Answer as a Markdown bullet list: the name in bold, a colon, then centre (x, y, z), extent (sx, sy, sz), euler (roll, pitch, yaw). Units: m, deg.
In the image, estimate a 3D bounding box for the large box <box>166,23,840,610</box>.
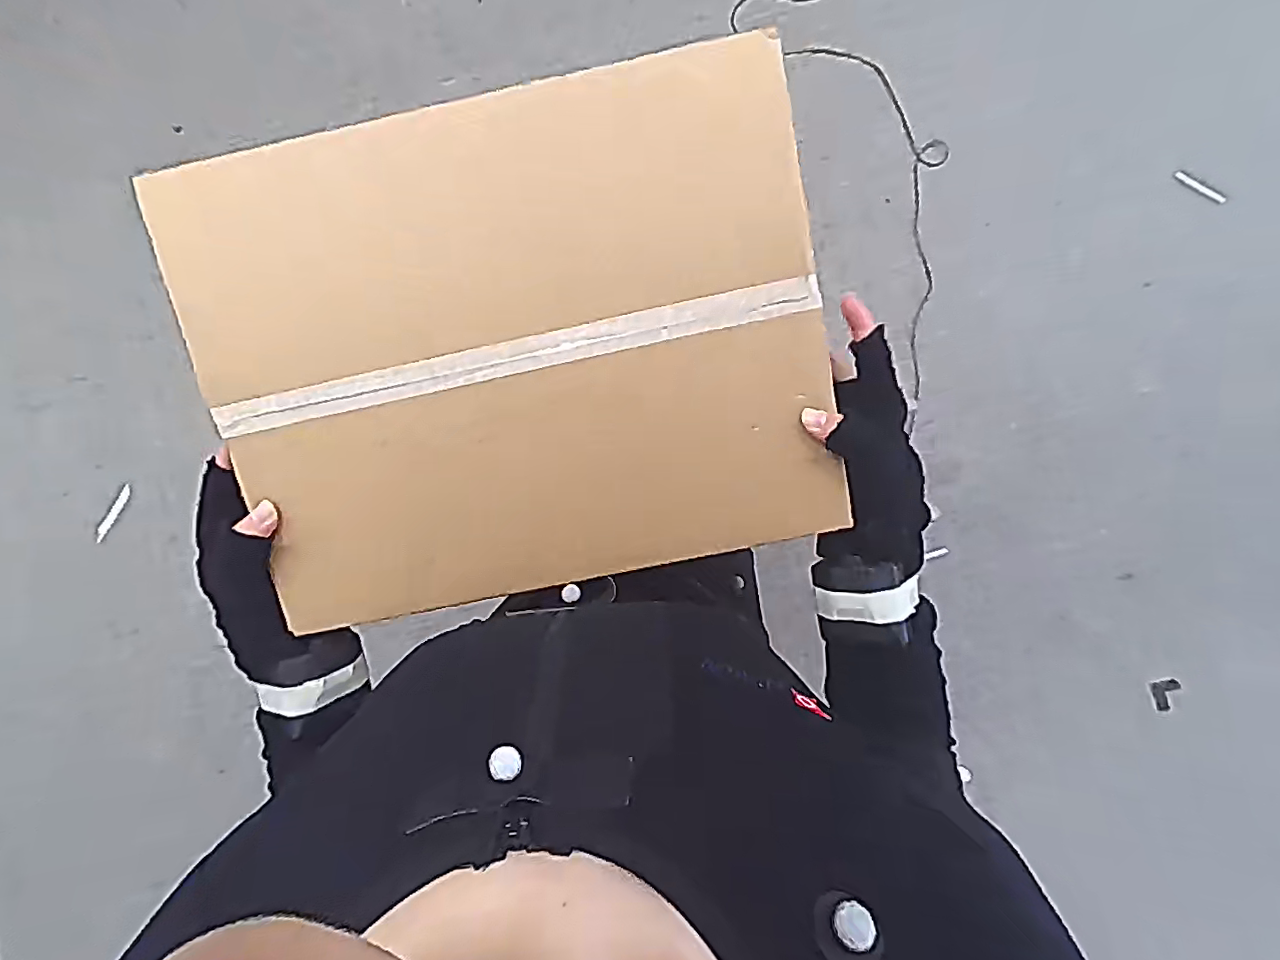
- **large box**: centre (-0.084, -0.116, 0.509), extent (0.408, 0.320, 0.320), euler (-12, 101, 2)
